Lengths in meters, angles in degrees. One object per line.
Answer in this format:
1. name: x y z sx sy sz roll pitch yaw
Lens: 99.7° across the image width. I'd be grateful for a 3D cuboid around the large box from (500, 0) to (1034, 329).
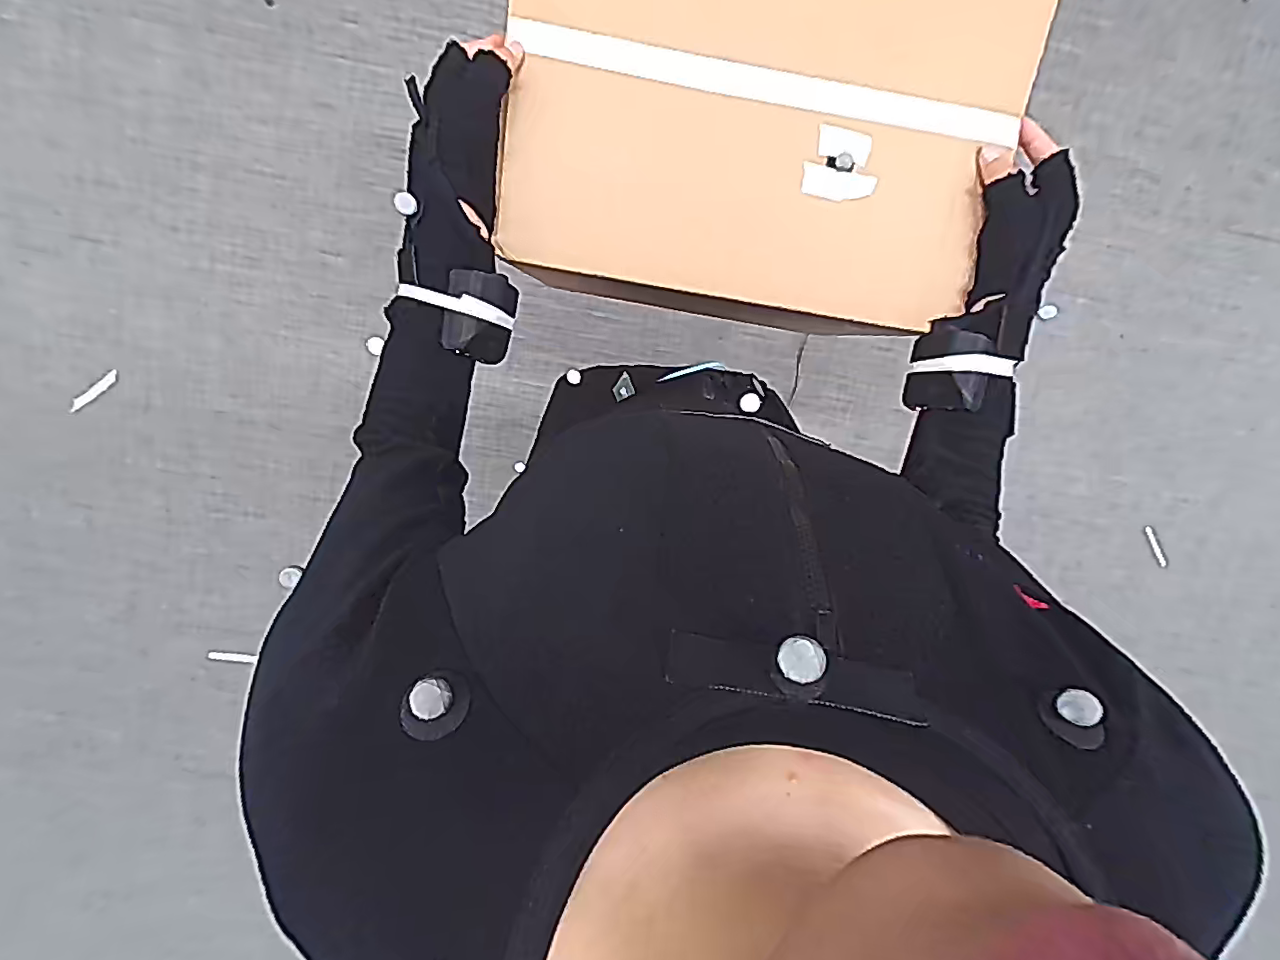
1. large box: 0.091 -0.349 0.577 0.408 0.320 0.320 9 106 -5
